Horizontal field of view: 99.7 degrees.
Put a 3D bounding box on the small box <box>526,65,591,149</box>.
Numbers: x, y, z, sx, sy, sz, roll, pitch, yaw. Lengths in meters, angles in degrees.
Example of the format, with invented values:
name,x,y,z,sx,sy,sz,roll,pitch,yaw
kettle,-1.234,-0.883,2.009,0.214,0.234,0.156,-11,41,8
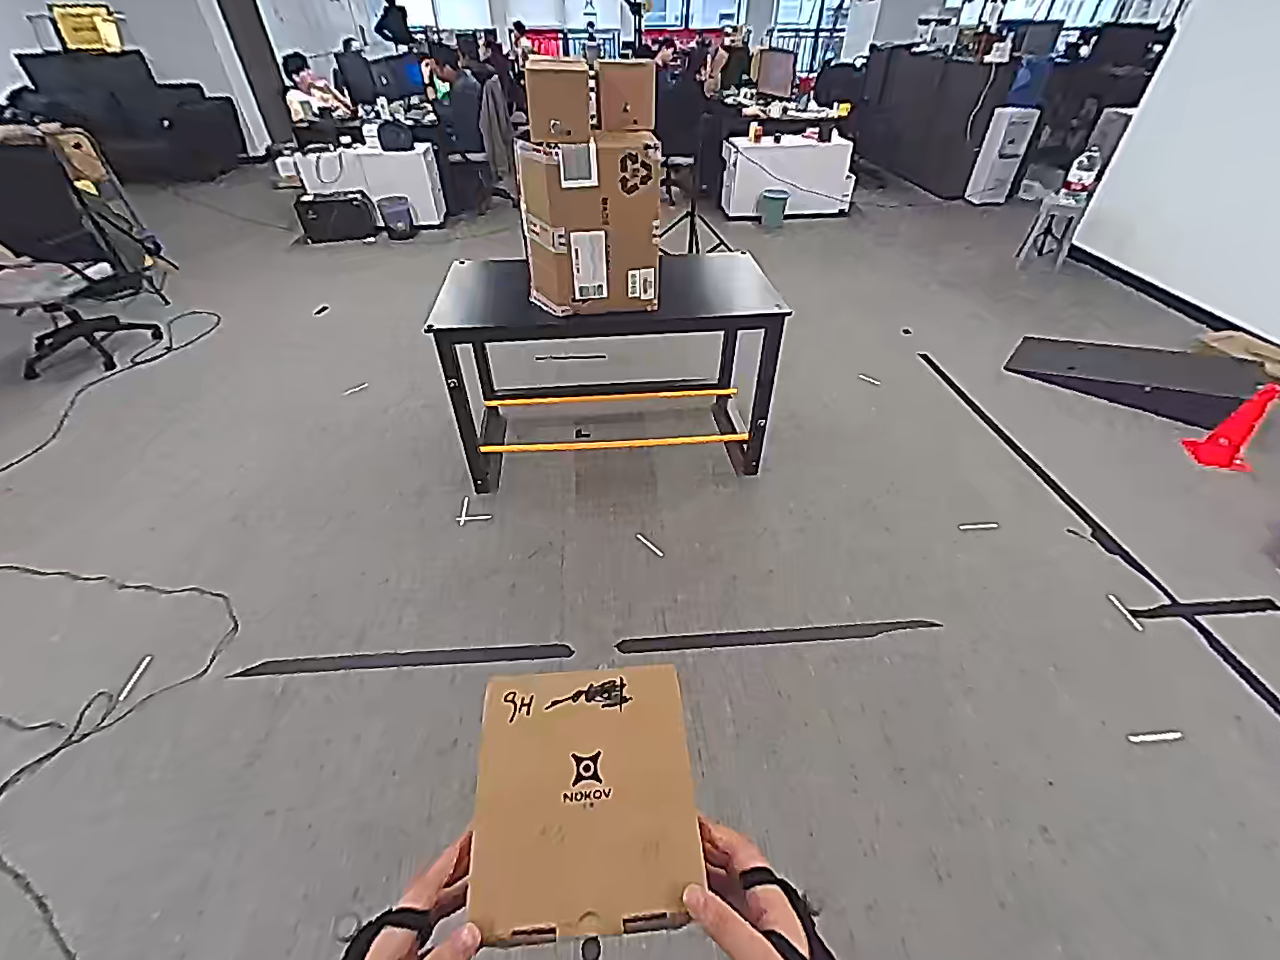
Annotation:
name,x,y,z,sx,sy,sz,roll,pitch,yaw
small box,-0.225,-1.034,1.498,0.168,0.176,0.179,-5,43,-8

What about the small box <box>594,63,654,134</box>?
name,x,y,z,sx,sy,sz,roll,pitch,yaw
small box,-0.052,-1.184,1.675,0.168,0.176,0.179,-6,40,-7
